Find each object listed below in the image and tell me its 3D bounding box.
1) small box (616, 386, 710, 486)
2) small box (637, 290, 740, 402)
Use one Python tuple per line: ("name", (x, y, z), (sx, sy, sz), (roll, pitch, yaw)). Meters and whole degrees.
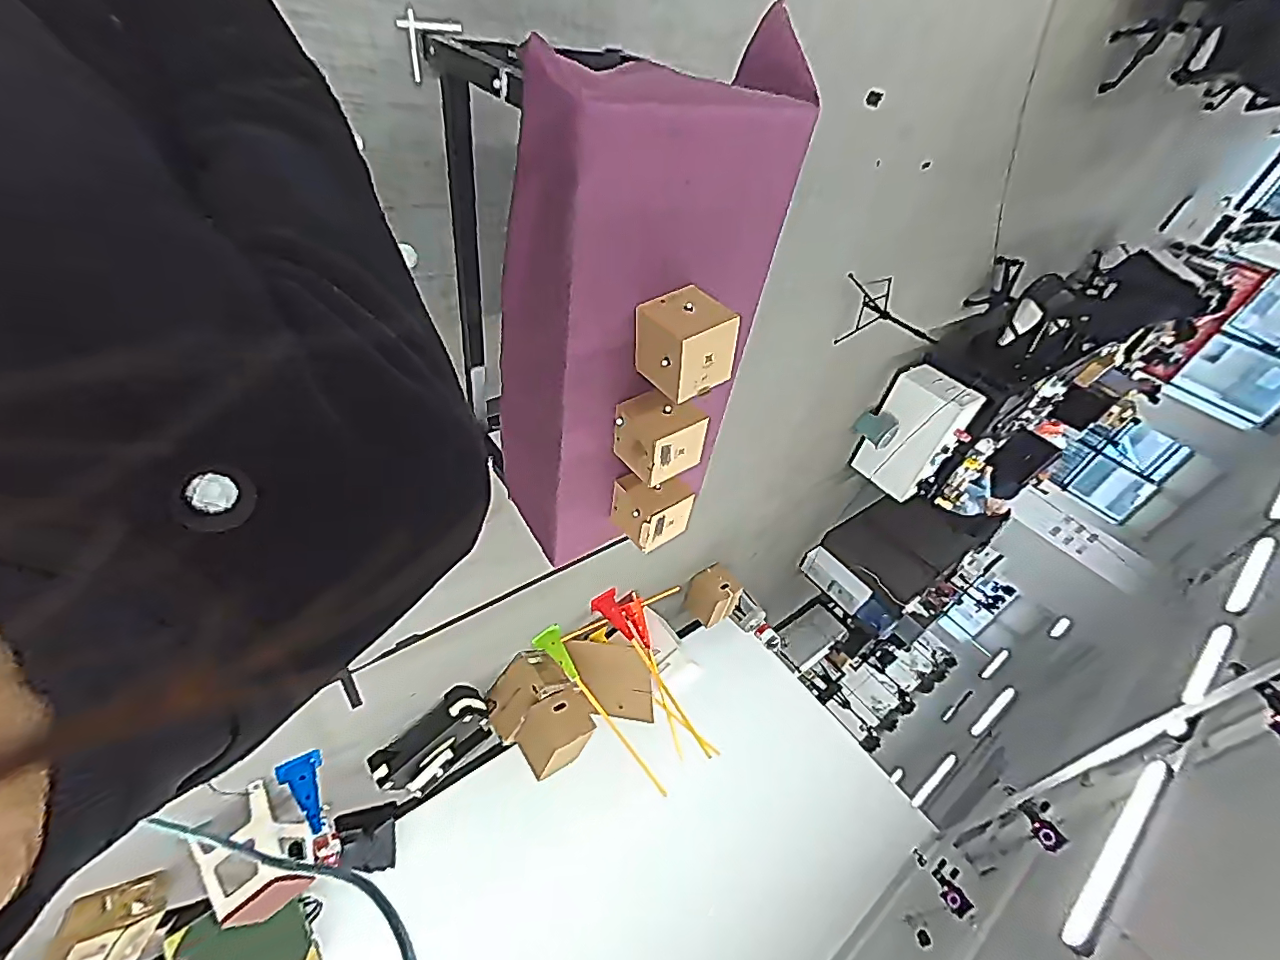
("small box", (0.053, -0.121, 1.423), (0.179, 0.176, 0.168), (-27, 145, -28))
("small box", (0.105, -0.318, 1.252), (0.168, 0.176, 0.179), (-28, 145, -23))
